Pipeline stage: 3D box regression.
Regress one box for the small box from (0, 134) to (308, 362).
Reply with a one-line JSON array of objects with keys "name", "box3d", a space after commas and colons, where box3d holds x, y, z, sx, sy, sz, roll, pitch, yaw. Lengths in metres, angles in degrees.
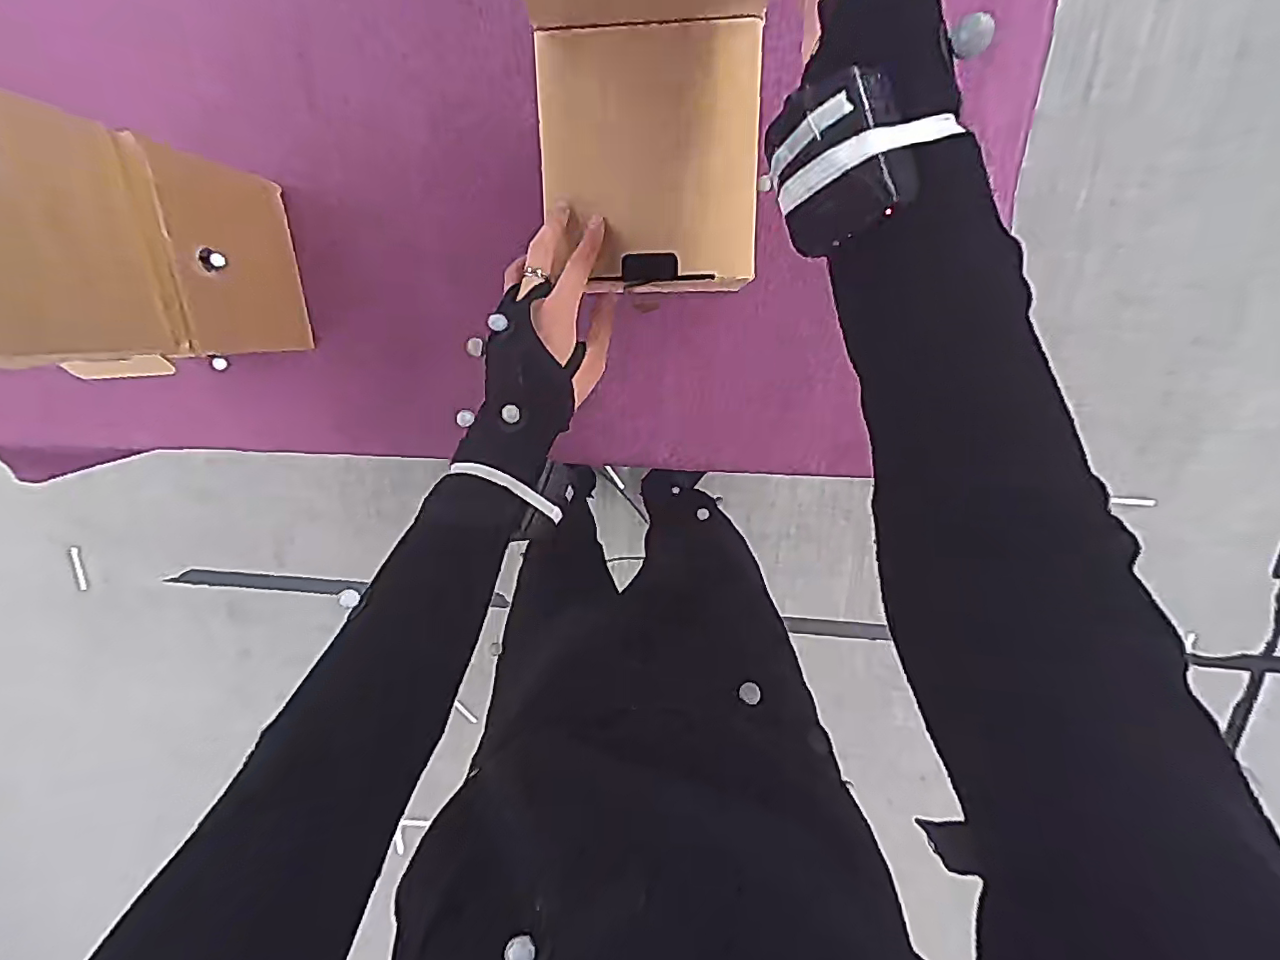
[{"name": "small box", "box3d": [-0.466, -0.214, 0.535, 0.168, 0.176, 0.179, -1, 106, 4]}]
